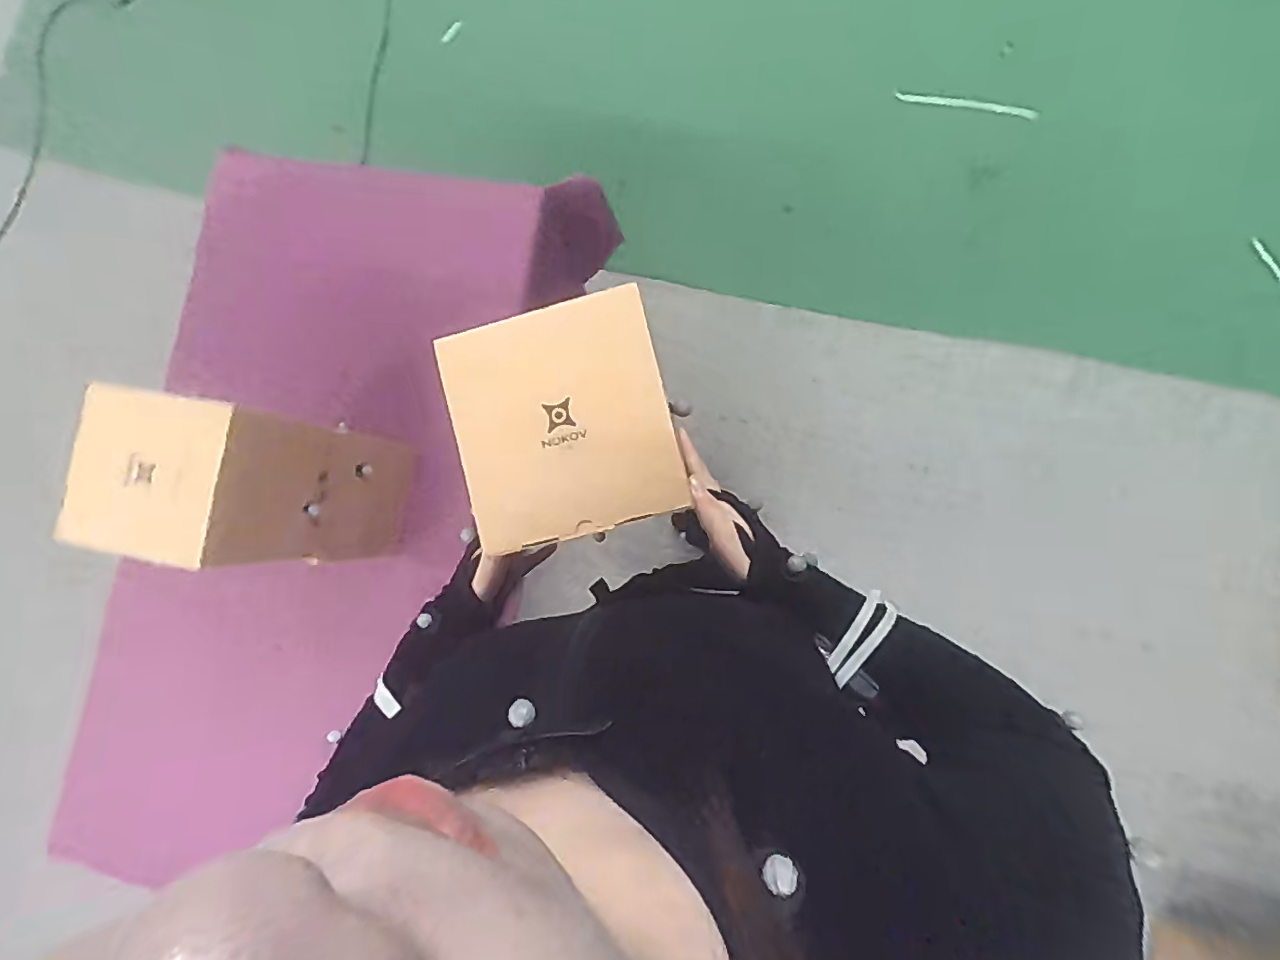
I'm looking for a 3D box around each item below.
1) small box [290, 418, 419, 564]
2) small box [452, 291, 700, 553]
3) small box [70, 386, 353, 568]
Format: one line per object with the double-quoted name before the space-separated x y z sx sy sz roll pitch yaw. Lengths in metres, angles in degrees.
"small box" -0.448 0.015 0.785 0.168 0.176 0.179 10 87 10
"small box" -0.045 -0.042 0.494 0.168 0.176 0.179 -13 89 6
"small box" -0.476 0.001 0.625 0.179 0.176 0.168 9 87 9
